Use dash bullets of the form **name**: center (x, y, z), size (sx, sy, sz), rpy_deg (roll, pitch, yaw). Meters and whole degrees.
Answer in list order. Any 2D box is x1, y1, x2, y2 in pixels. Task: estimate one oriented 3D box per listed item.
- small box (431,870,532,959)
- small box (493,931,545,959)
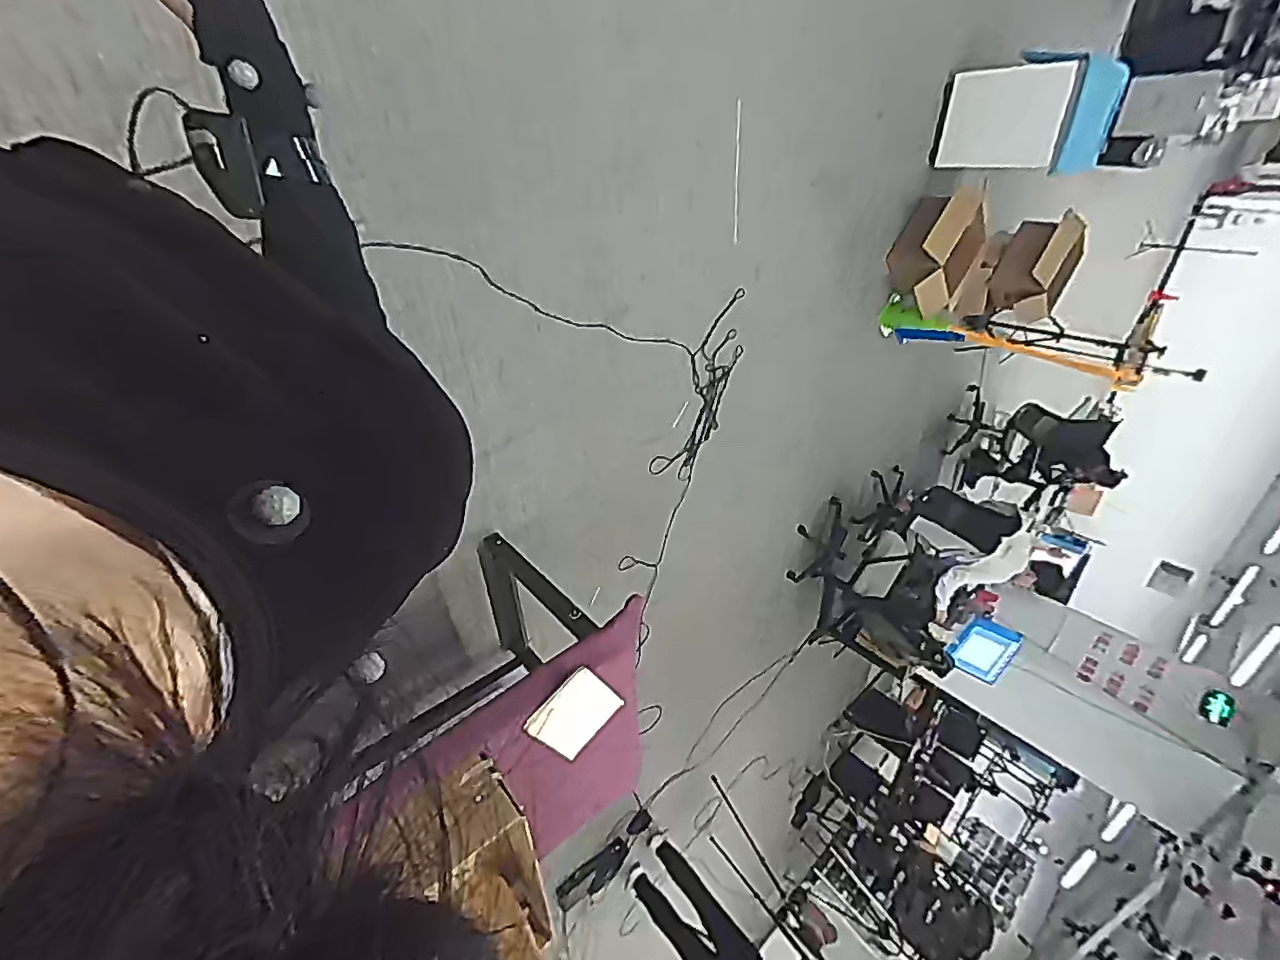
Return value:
- **small box**: center (-0.359, 1.053, 1.245), size (0.168, 0.176, 0.179), rpy_deg (-25, 127, -33)
- **small box**: center (-0.259, 1.111, 1.132), size (0.179, 0.176, 0.168), rpy_deg (-27, 128, -31)
